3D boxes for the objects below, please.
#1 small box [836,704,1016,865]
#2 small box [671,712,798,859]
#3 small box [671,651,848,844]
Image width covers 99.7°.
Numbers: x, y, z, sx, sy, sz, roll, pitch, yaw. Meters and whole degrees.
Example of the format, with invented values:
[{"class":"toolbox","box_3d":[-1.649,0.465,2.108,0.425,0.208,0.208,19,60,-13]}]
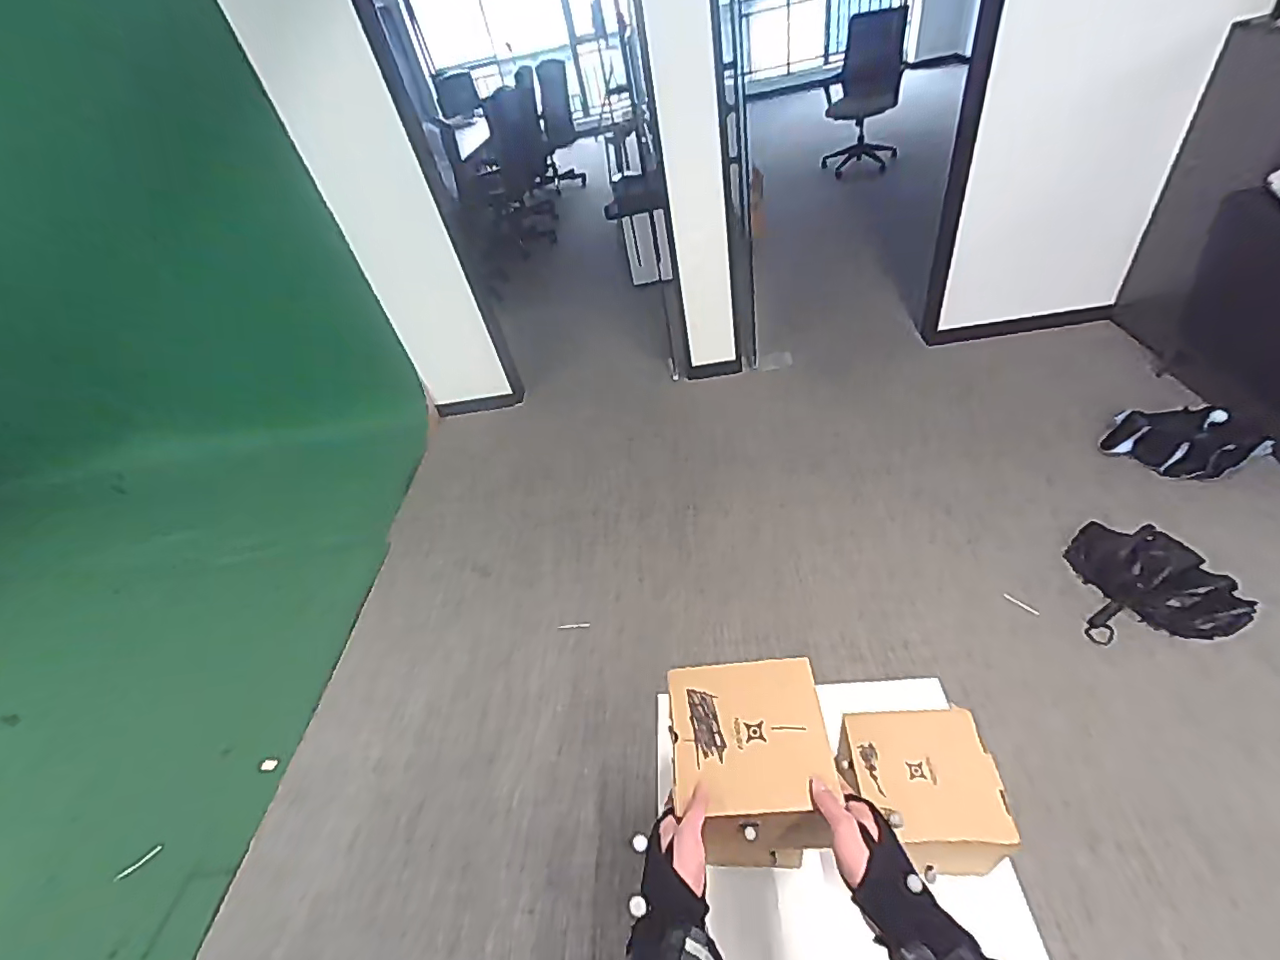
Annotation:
[{"class":"small box","box_3d":[0.389,0.438,0.779,0.179,0.176,0.168,-4,44,8]},{"class":"small box","box_3d":[0.143,0.456,0.819,0.179,0.176,0.168,-5,42,8]},{"class":"small box","box_3d":[0.136,0.330,0.660,0.179,0.176,0.168,-6,45,5]}]
